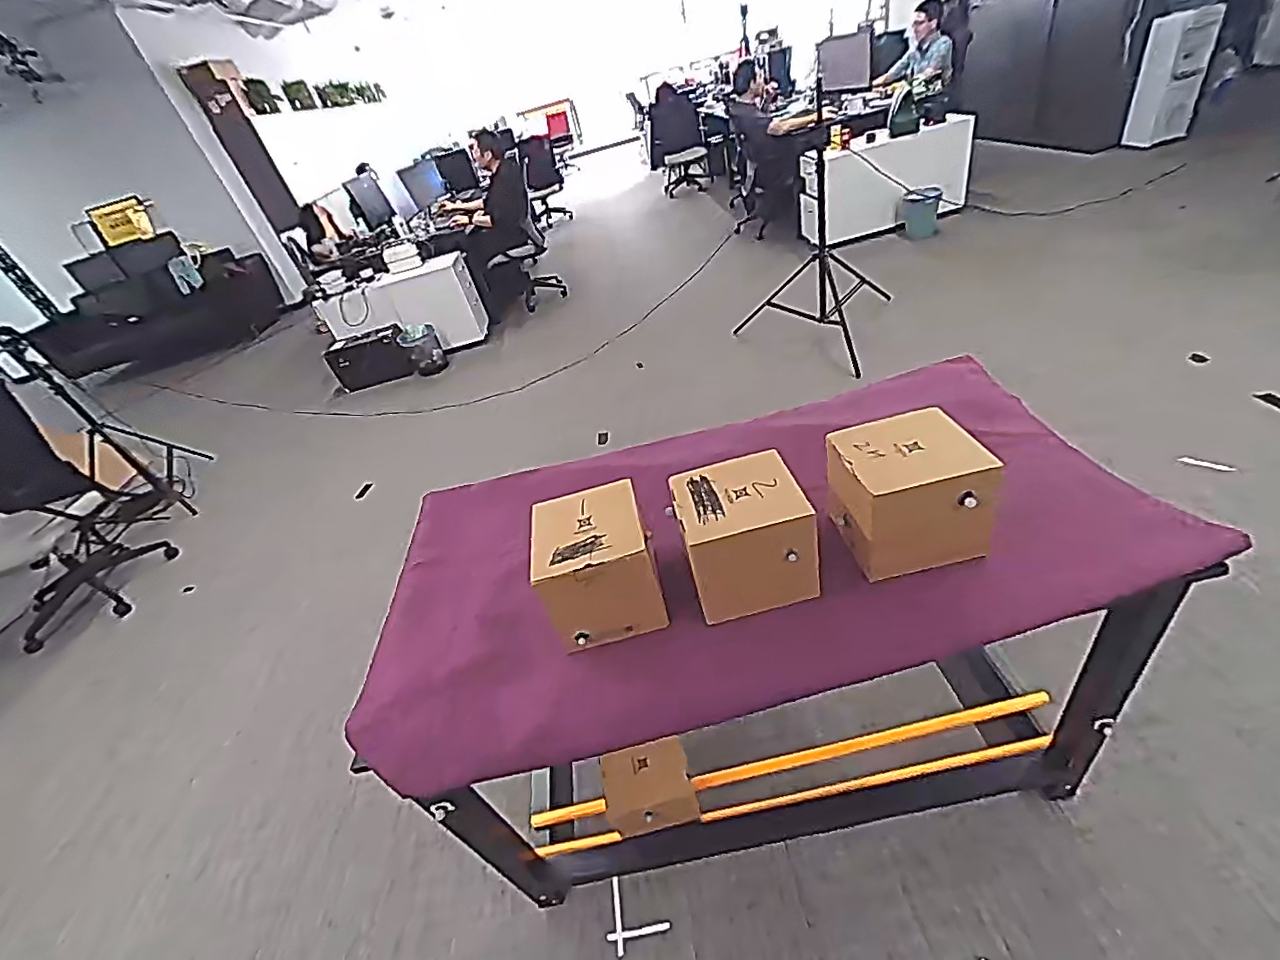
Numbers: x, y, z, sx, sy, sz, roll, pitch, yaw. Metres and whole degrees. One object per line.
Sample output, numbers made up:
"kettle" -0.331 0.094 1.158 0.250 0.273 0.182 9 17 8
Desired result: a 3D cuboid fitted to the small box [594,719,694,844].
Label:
"small box" 0.013 0.657 1.177 0.179 0.176 0.168 -18 39 0
